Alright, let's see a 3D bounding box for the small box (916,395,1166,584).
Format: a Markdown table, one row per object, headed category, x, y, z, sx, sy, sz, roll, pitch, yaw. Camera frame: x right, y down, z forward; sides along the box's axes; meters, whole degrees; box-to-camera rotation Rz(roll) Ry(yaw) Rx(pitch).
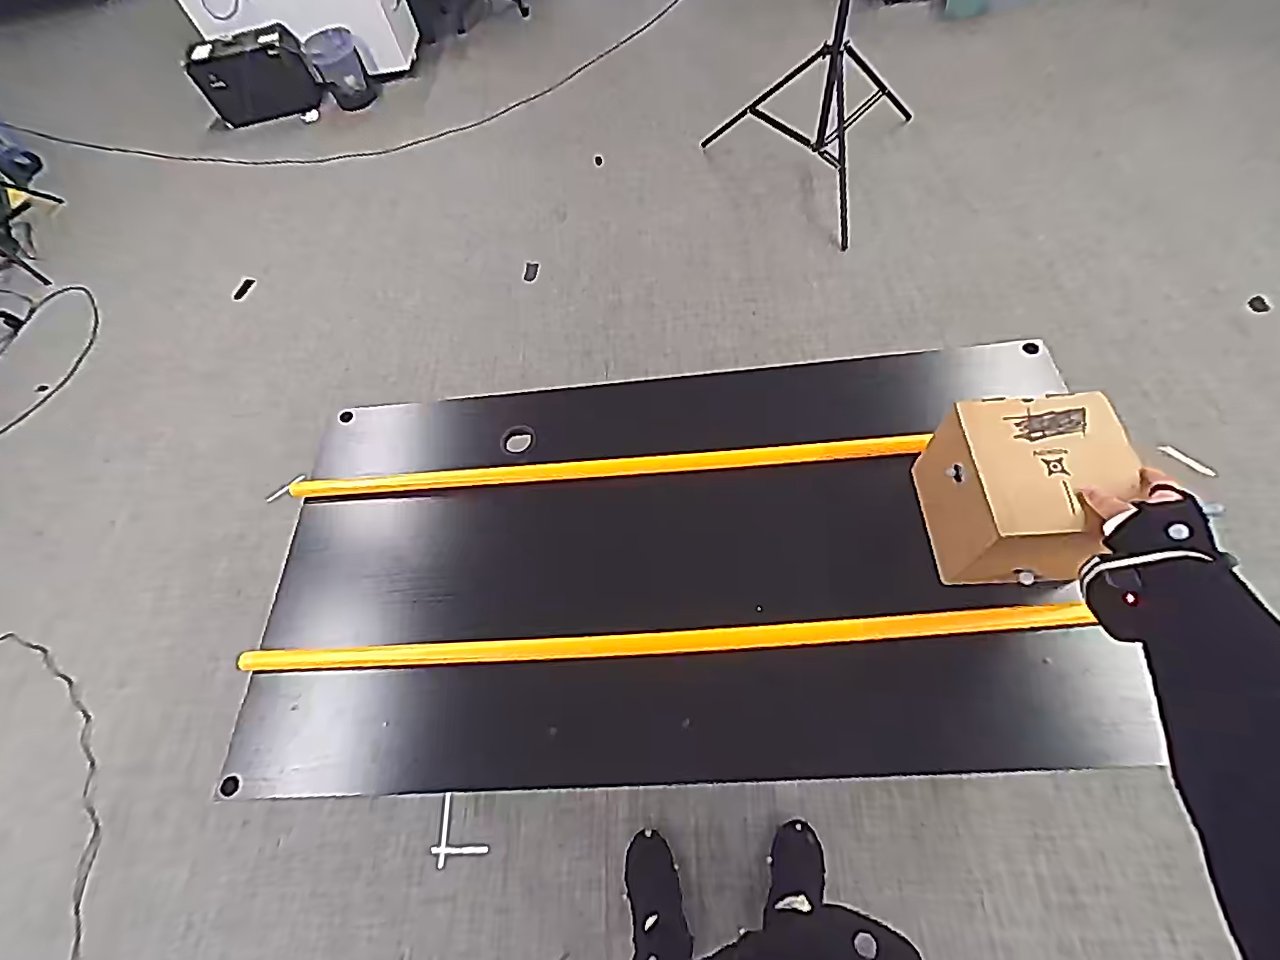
| category | x | y | z | sx | sy | sz | roll | pitch | yaw |
| --- | --- | --- | --- | --- | --- | --- | --- | --- | --- |
| small box | 0.463 | 0.018 | 0.665 | 0.168 | 0.176 | 0.179 | -3 | 61 | 7 |
